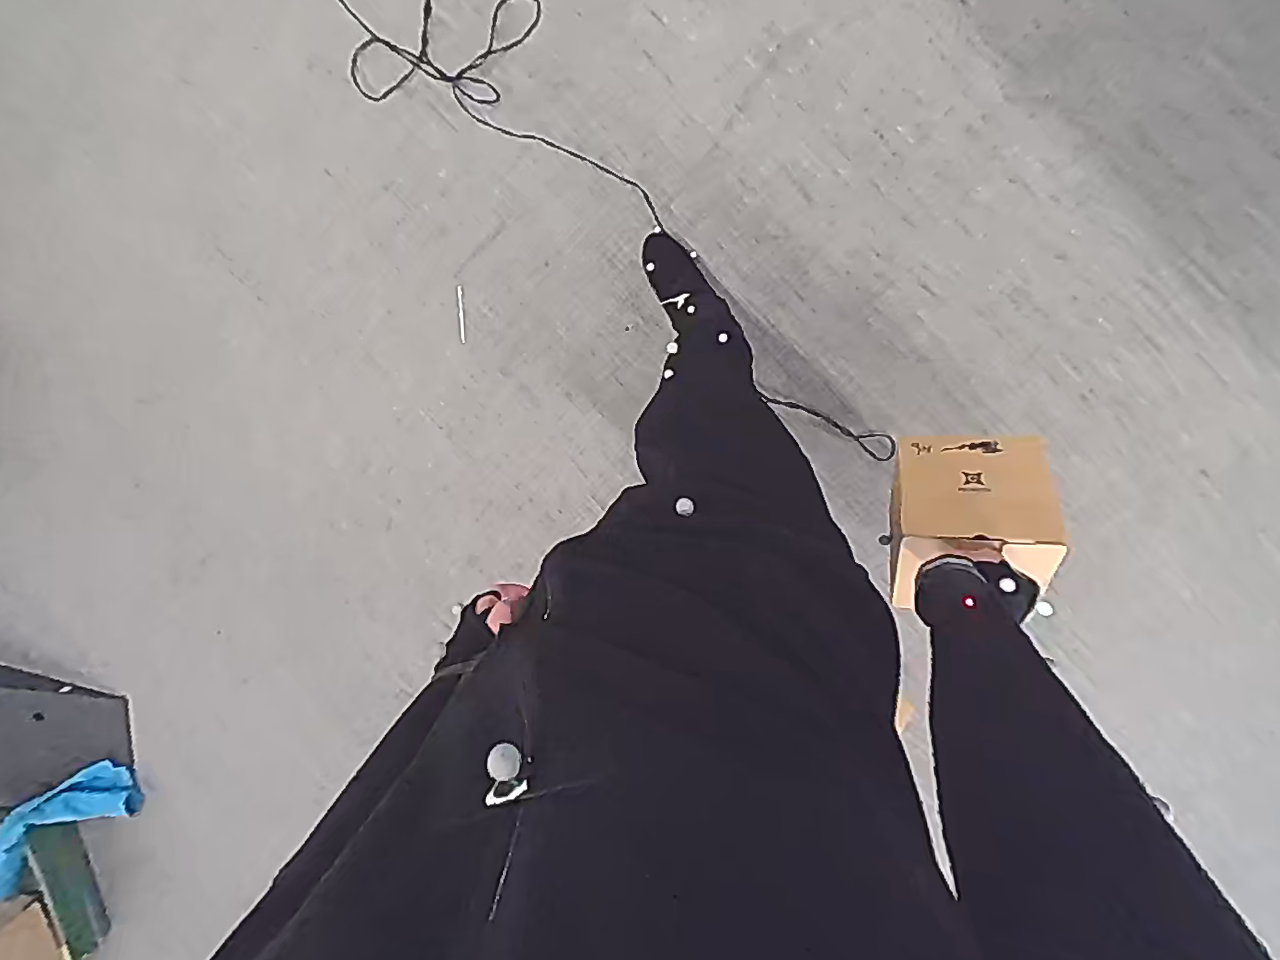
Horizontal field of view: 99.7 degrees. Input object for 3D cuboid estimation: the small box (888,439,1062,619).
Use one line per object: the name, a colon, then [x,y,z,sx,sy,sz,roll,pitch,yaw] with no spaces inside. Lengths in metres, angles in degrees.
small box: [0.430,0.065,0.725,0.168,0.179,0.176,3,139,21]
